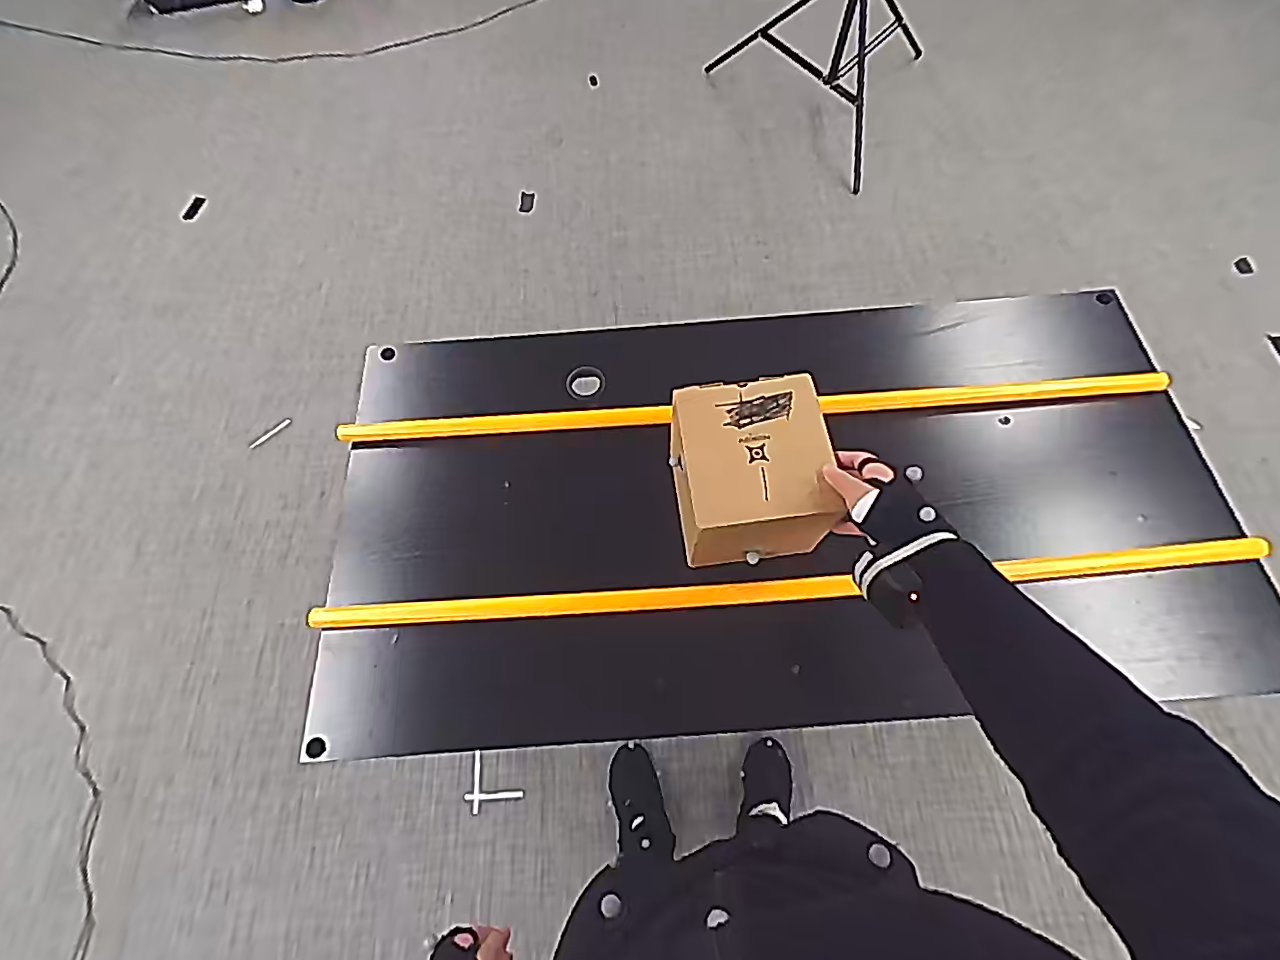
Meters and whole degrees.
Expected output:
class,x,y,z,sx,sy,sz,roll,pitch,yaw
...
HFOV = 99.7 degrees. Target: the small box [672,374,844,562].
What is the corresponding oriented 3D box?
class,x,y,z,sx,sy,sz,roll,pitch,yaw
small box,0.133,-0.009,0.685,0.168,0.176,0.179,-7,67,-1
